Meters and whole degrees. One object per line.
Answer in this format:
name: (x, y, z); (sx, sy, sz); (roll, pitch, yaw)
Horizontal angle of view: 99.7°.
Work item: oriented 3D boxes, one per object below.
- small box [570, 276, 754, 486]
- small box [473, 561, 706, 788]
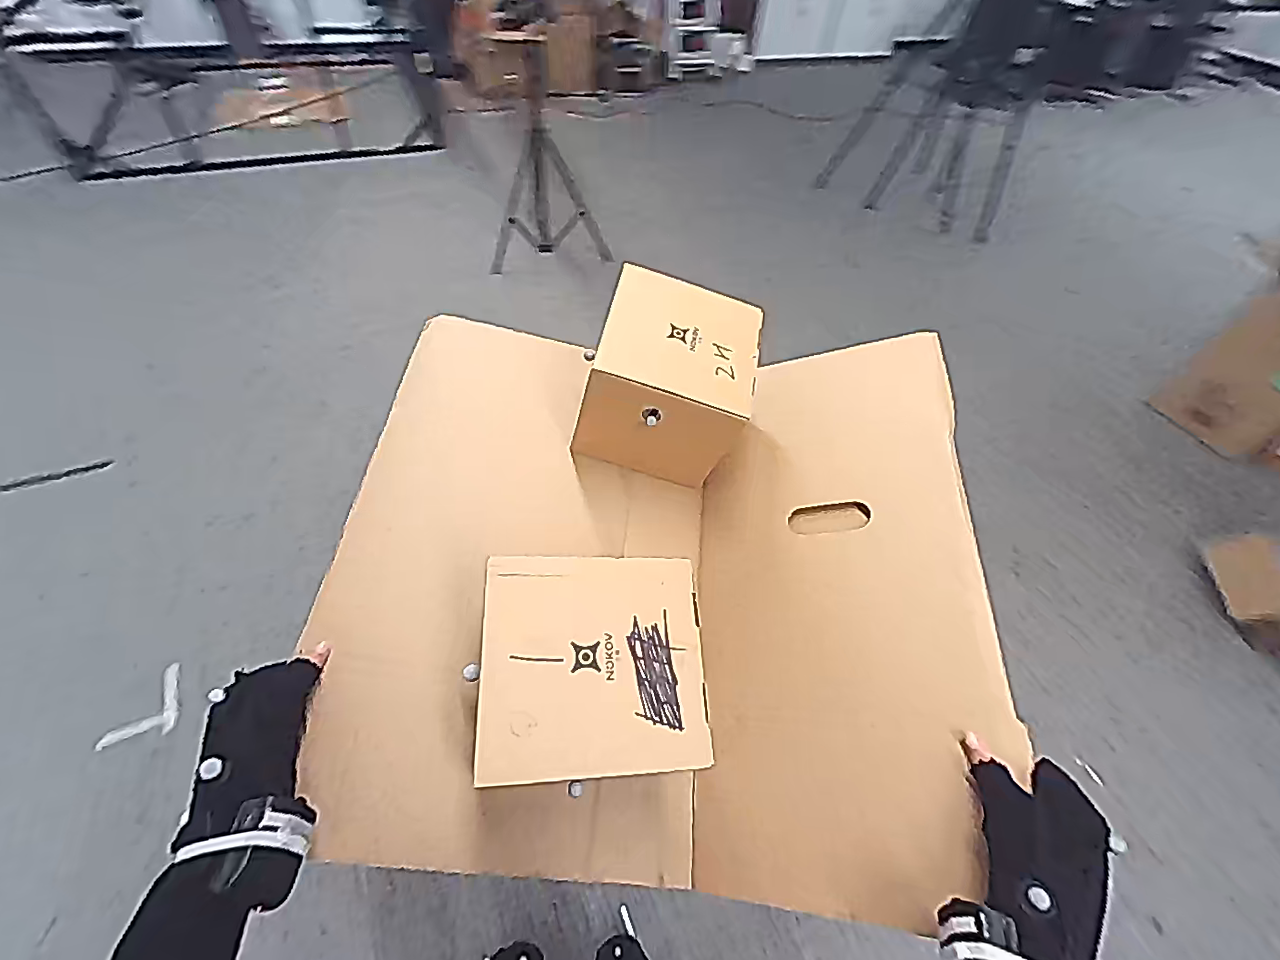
small box: (0.021, -0.112, 0.673); (0.179, 0.176, 0.168); (17, 60, -7)
small box: (-0.056, 0.180, 0.499); (0.179, 0.176, 0.168); (2, 63, -14)
